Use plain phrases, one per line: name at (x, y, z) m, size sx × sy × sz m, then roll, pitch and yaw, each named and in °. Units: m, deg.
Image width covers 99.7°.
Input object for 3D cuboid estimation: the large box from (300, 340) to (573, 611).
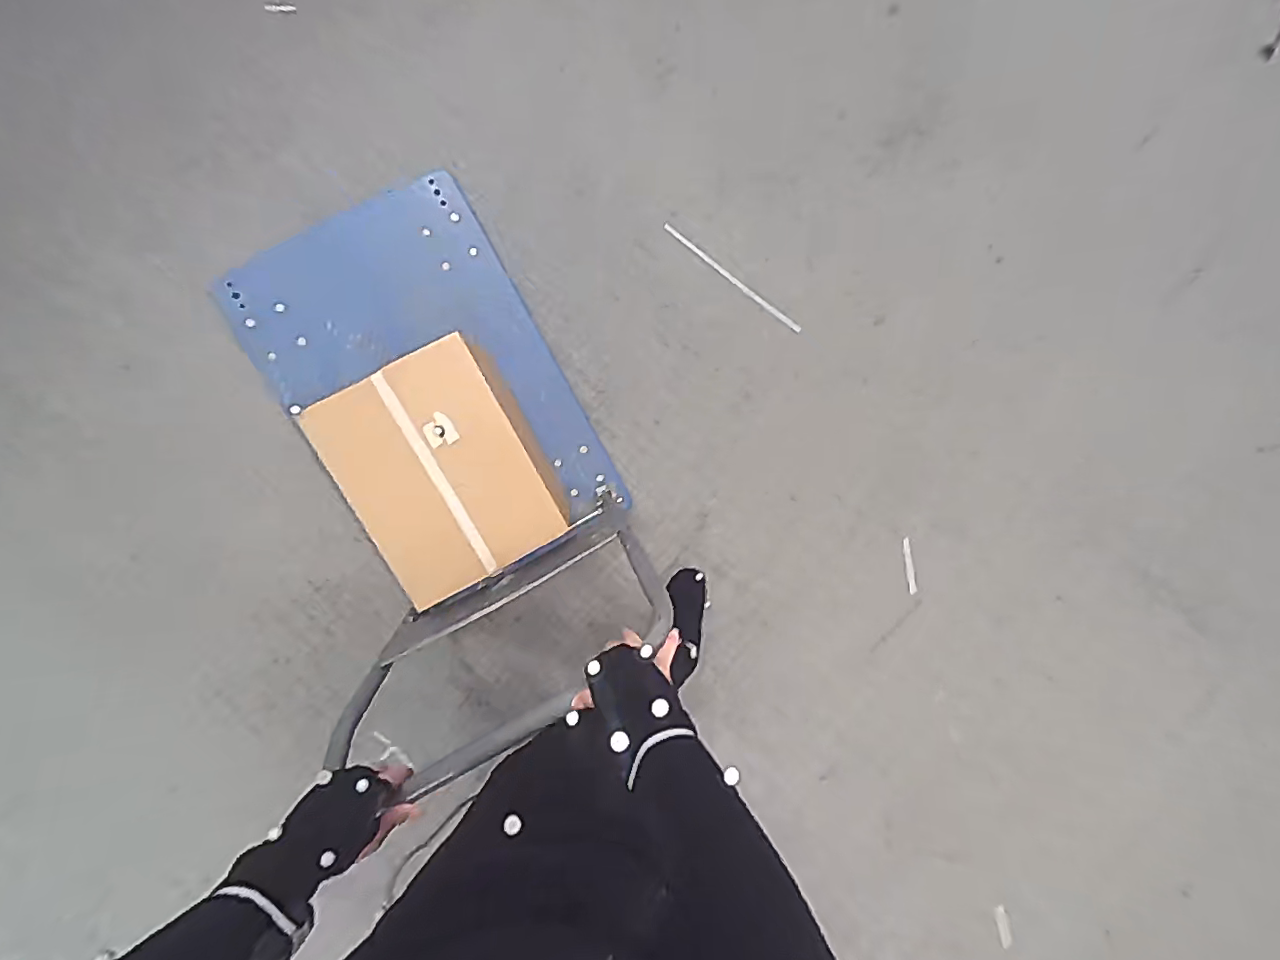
large box at (-0.370, -0.017, 1.104) m, size 0.320 × 0.320 × 0.408 m, roll -30°, pitch 98°, yaw -3°
